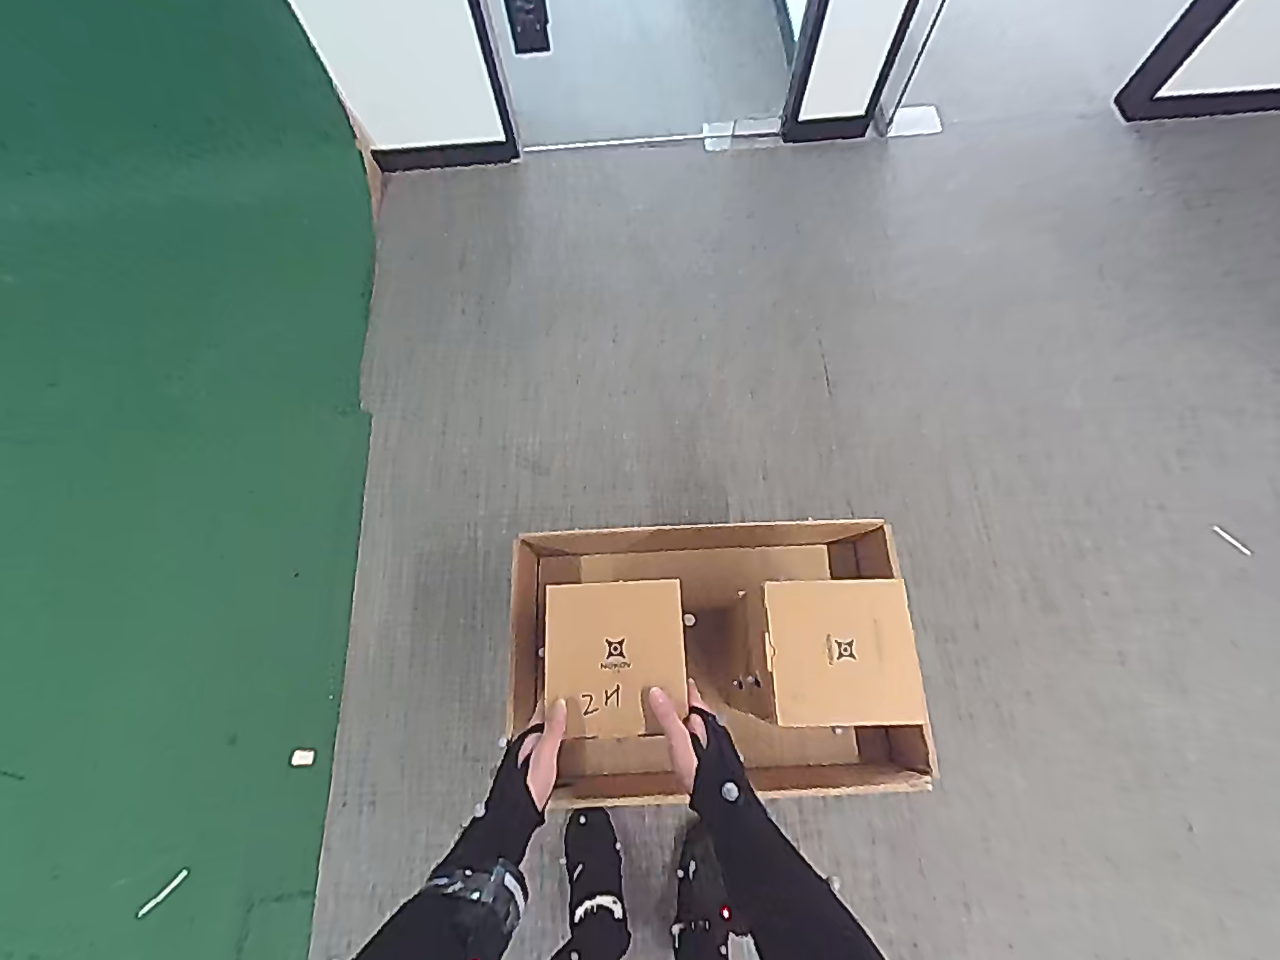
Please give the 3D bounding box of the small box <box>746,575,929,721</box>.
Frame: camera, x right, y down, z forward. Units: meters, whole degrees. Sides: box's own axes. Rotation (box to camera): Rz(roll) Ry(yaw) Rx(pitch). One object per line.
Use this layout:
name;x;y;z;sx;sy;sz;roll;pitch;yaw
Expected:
small box;0.239;0.218;0.707;0.179;0.176;0.168;0;73;-1

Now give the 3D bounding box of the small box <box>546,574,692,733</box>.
small box;-0.025;0.225;0.703;0.168;0.176;0.179;-2;70;0
